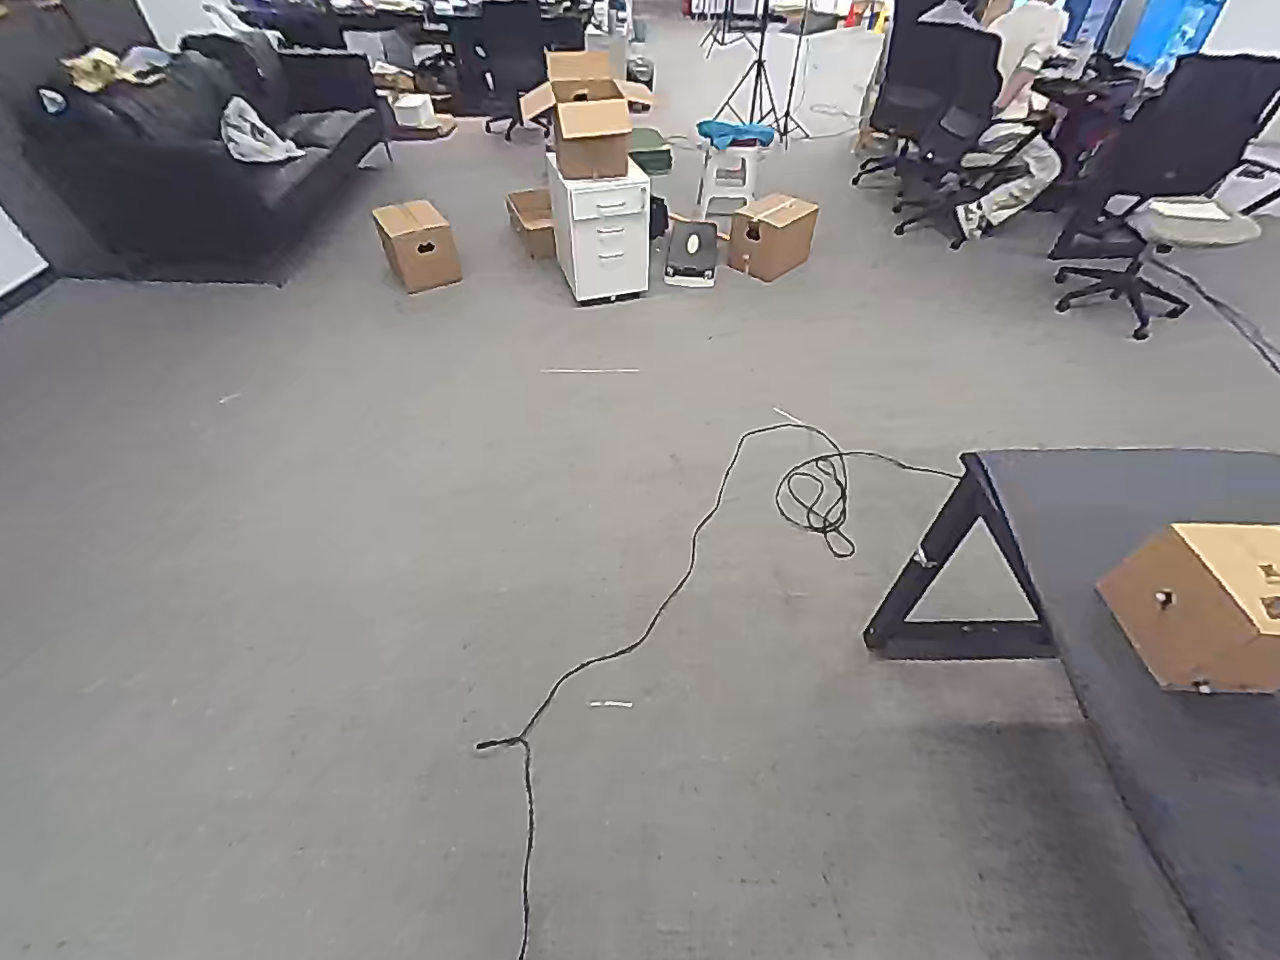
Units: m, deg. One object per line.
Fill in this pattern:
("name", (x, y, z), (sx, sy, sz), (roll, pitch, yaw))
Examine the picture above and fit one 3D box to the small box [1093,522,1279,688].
("small box", (0.812, 0.179, 0.766), (0.168, 0.176, 0.179), (2, 46, -1))
